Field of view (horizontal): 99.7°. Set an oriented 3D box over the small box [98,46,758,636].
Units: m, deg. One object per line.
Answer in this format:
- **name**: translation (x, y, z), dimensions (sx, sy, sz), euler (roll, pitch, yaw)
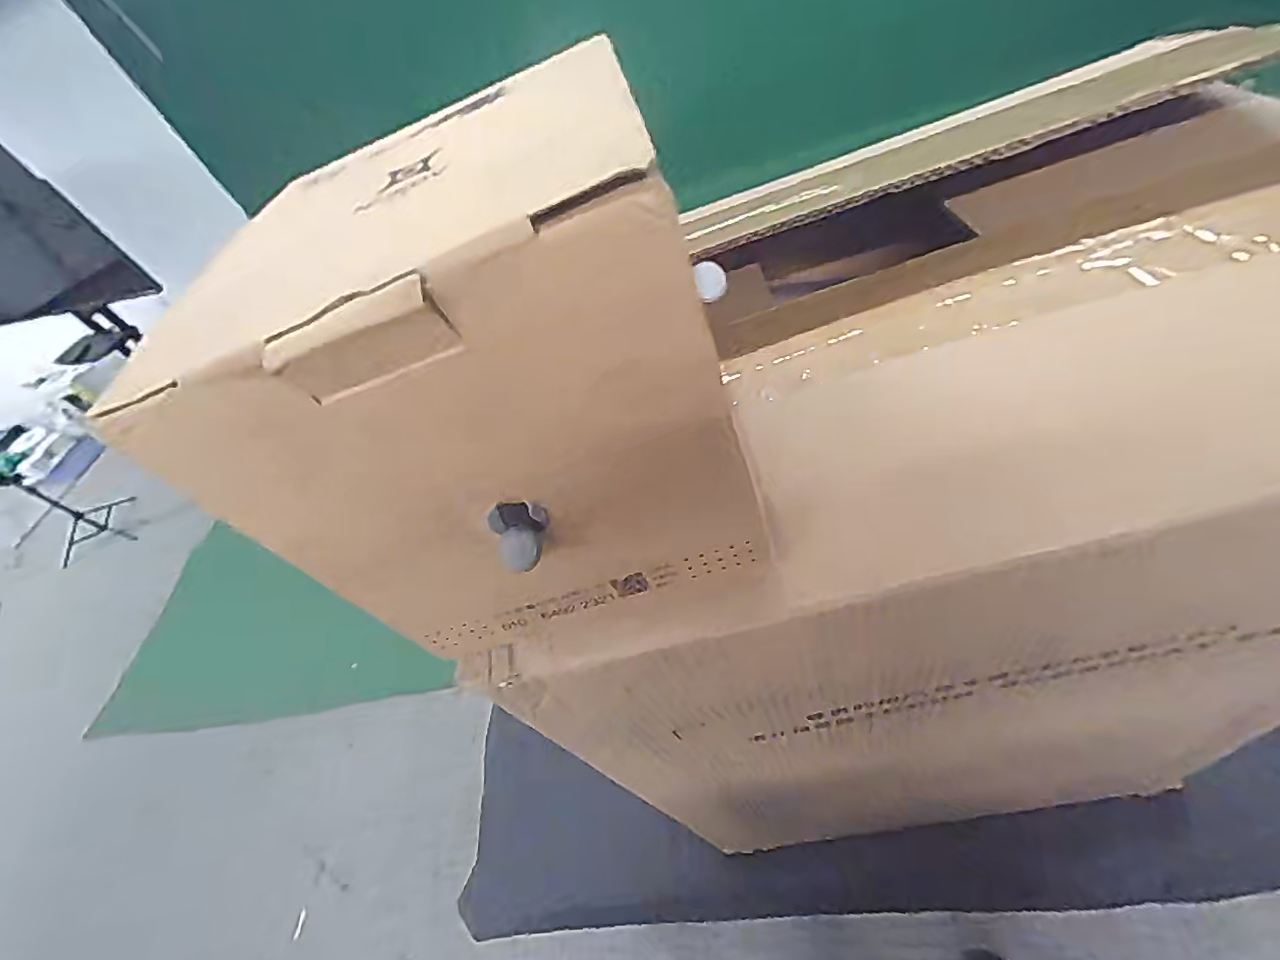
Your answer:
- **small box**: translation (-0.055, -0.047, 0.246), dimensions (0.168, 0.176, 0.179), euler (-18, 47, 10)
